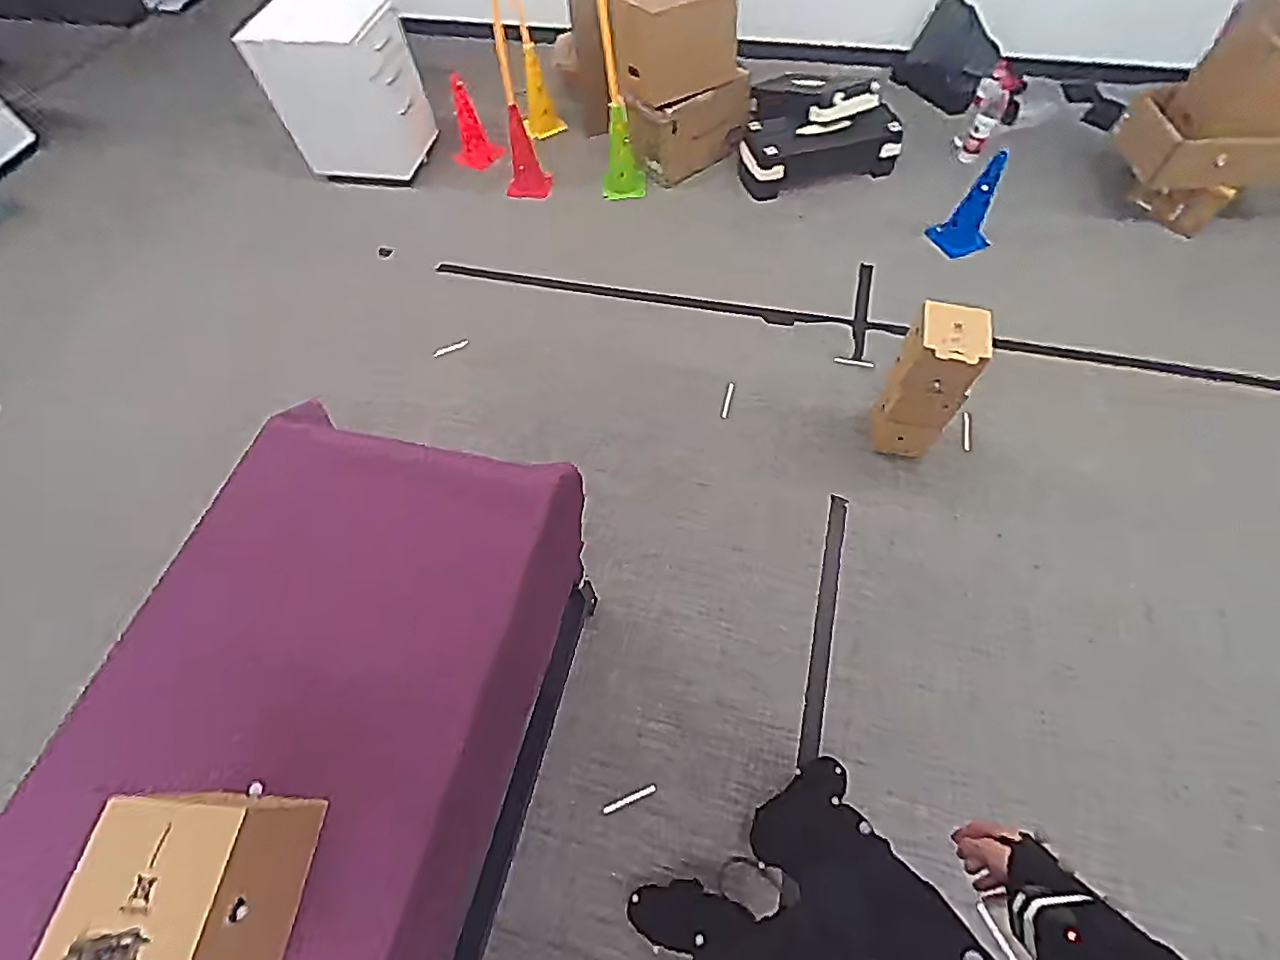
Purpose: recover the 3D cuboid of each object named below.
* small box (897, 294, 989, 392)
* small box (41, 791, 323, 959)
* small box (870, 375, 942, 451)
[{"bbox_3d":[0.809,-0.366,1.454,0.168,0.176,0.179,13,64,10],"label":"small box"},{"bbox_3d":[-0.513,0.474,0.634,0.168,0.176,0.179,2,61,4],"label":"small box"},{"bbox_3d":[0.853,-0.212,1.744,0.168,0.176,0.179,8,62,8],"label":"small box"}]
